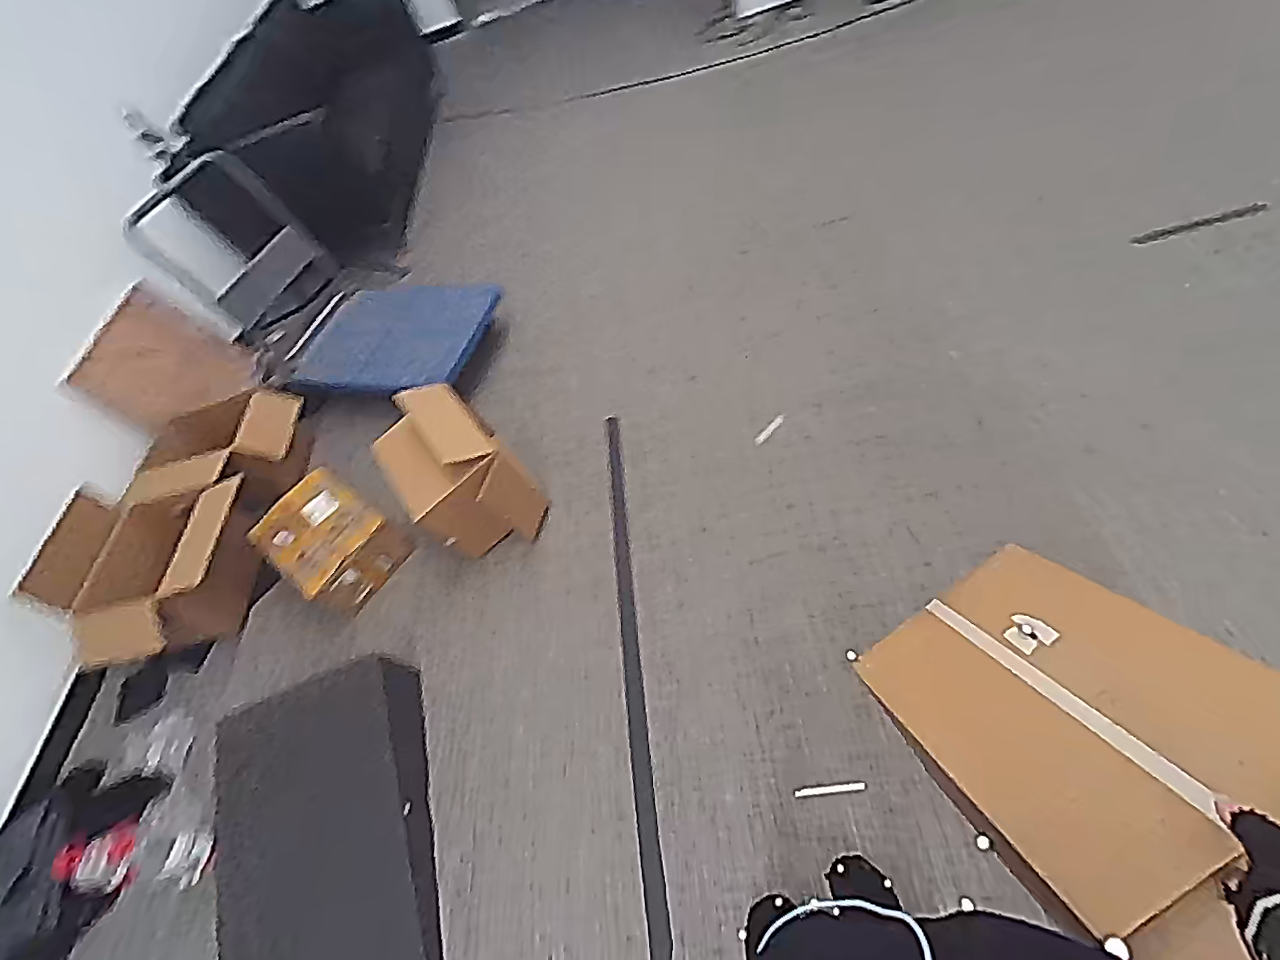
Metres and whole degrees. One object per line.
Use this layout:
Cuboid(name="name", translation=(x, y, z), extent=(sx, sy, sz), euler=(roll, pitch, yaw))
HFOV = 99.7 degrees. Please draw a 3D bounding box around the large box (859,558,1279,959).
Cuboid(name="large box", translation=(0.586, 0.377, 0.707), extent=(0.320, 0.320, 0.408), euler=(-36, 20, 1))
